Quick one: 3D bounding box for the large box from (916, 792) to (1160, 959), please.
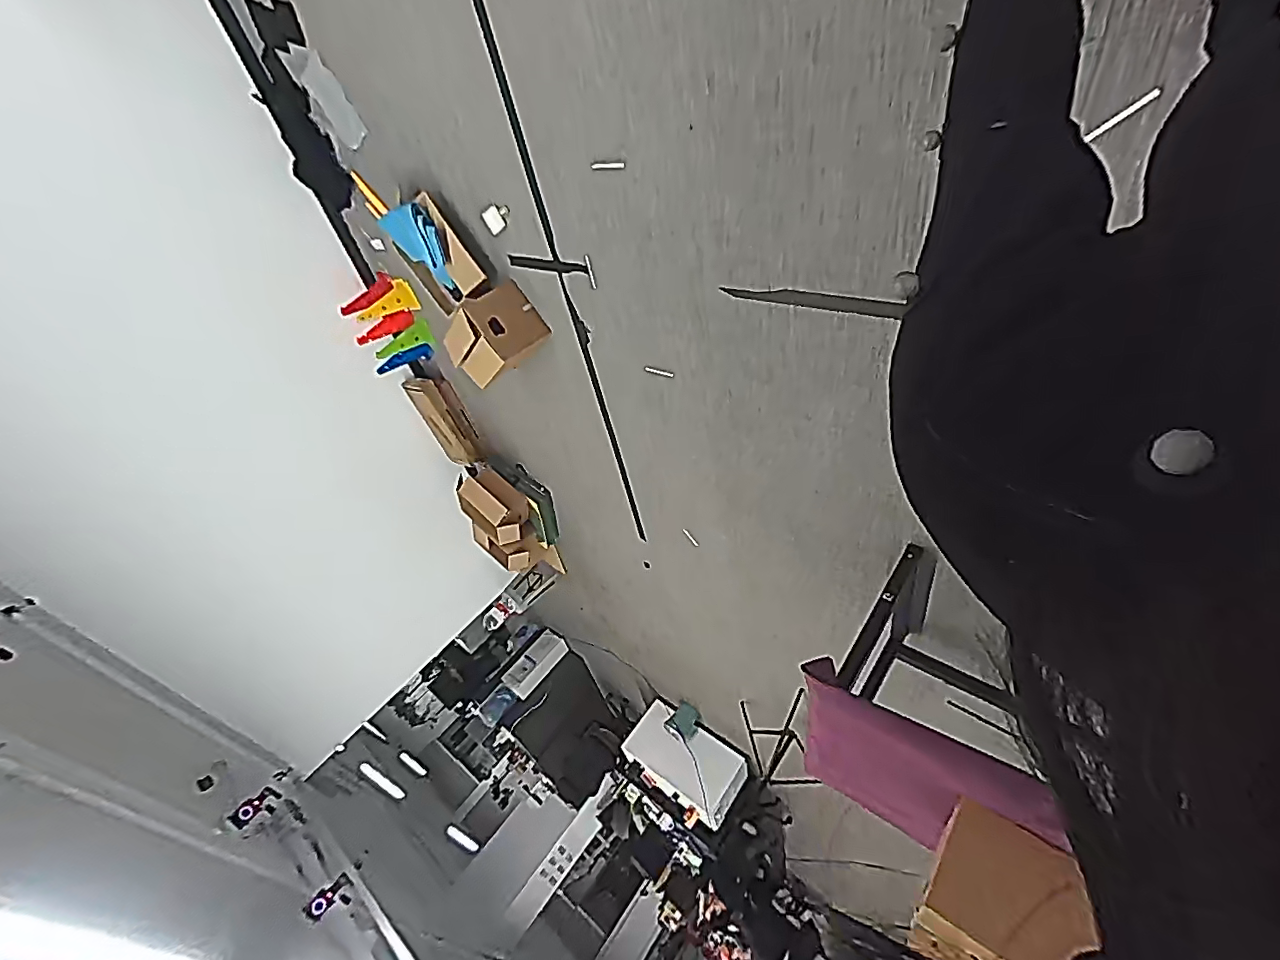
[{"bbox_3d":[0.981,1.097,1.369,0.408,0.320,0.320,22,142,37],"label":"large box"}]
